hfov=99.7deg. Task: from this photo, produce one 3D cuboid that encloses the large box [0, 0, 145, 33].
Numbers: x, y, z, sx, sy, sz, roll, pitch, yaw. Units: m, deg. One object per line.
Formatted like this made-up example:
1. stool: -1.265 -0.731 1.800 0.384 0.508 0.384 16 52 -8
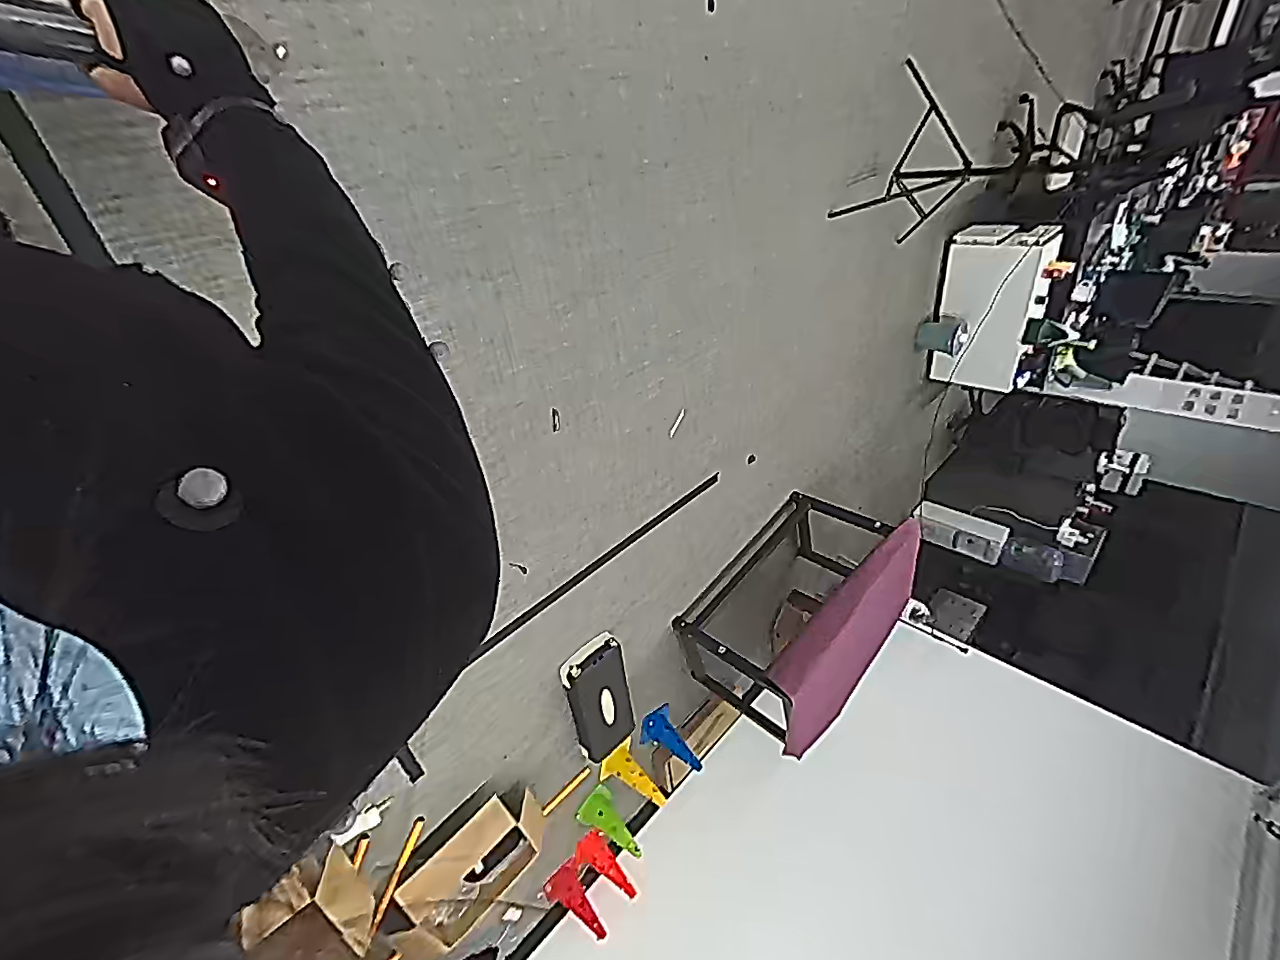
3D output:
1. large box: -0.853 -0.728 0.575 0.408 0.320 0.320 -23 128 -39
